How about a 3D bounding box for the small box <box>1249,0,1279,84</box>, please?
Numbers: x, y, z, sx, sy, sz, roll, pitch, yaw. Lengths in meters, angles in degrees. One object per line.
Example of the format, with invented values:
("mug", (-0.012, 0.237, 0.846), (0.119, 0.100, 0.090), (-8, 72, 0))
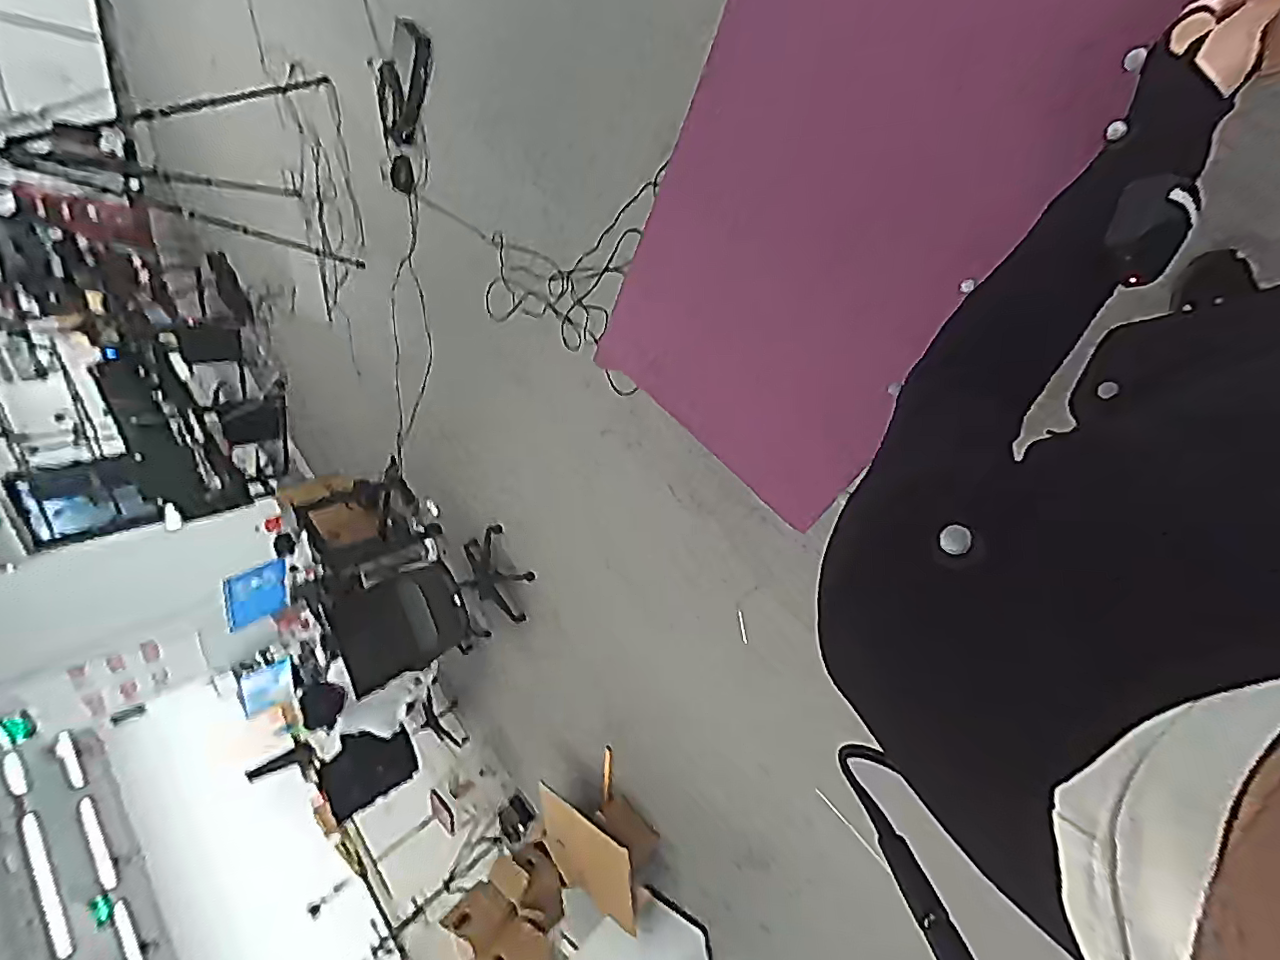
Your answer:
("small box", (0.580, -0.425, 0.394), (0.168, 0.176, 0.179), (8, 127, 45))
